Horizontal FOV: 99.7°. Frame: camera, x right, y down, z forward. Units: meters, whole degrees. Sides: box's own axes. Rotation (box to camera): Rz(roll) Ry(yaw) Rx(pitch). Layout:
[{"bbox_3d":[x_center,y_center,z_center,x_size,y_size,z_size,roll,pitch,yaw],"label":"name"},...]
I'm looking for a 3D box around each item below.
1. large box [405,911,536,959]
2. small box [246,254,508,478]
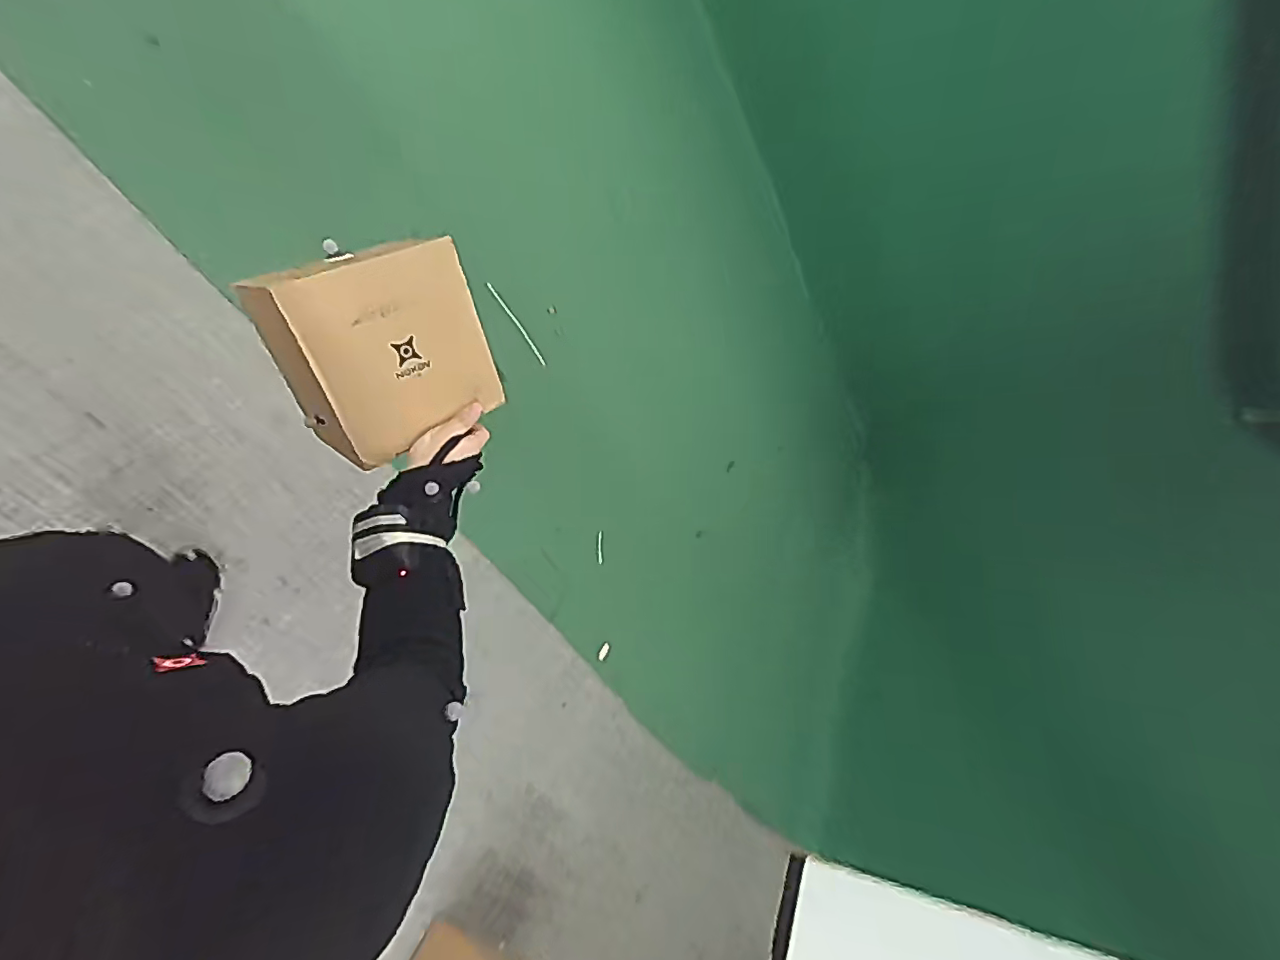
[{"bbox_3d":[-0.424,1.332,1.256,0.320,0.320,0.408,53,48,-30],"label":"large box"},{"bbox_3d":[-0.273,-0.130,0.572,0.168,0.176,0.179,-34,127,-33],"label":"small box"}]
